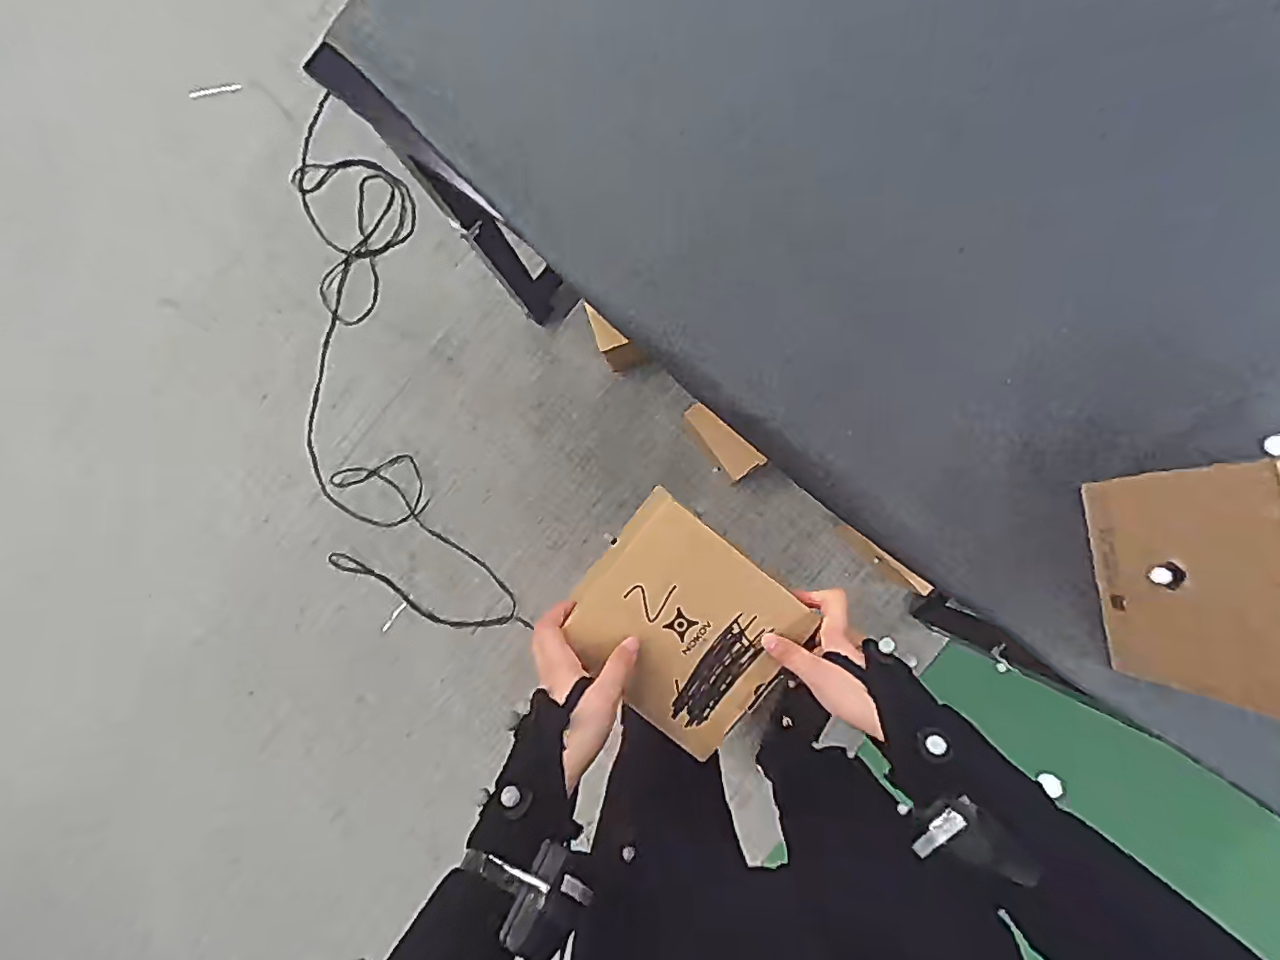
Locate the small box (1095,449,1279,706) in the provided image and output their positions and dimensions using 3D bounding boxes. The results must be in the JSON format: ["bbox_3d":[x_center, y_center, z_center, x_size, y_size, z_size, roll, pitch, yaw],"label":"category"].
[{"bbox_3d":[0.478,0.065,0.391,0.179,0.176,0.168,-5,84,3],"label":"small box"}]

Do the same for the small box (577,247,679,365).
[{"bbox_3d":[-0.019,-0.370,1.184,0.179,0.176,0.168,-18,86,3],"label":"small box"}]

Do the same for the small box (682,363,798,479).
[{"bbox_3d":[0.206,-0.116,1.155,0.168,0.176,0.179,-37,84,1],"label":"small box"}]

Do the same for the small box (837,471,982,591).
[{"bbox_3d":[0.542,0.103,1.120,0.179,0.176,0.168,45,91,4],"label":"small box"}]
